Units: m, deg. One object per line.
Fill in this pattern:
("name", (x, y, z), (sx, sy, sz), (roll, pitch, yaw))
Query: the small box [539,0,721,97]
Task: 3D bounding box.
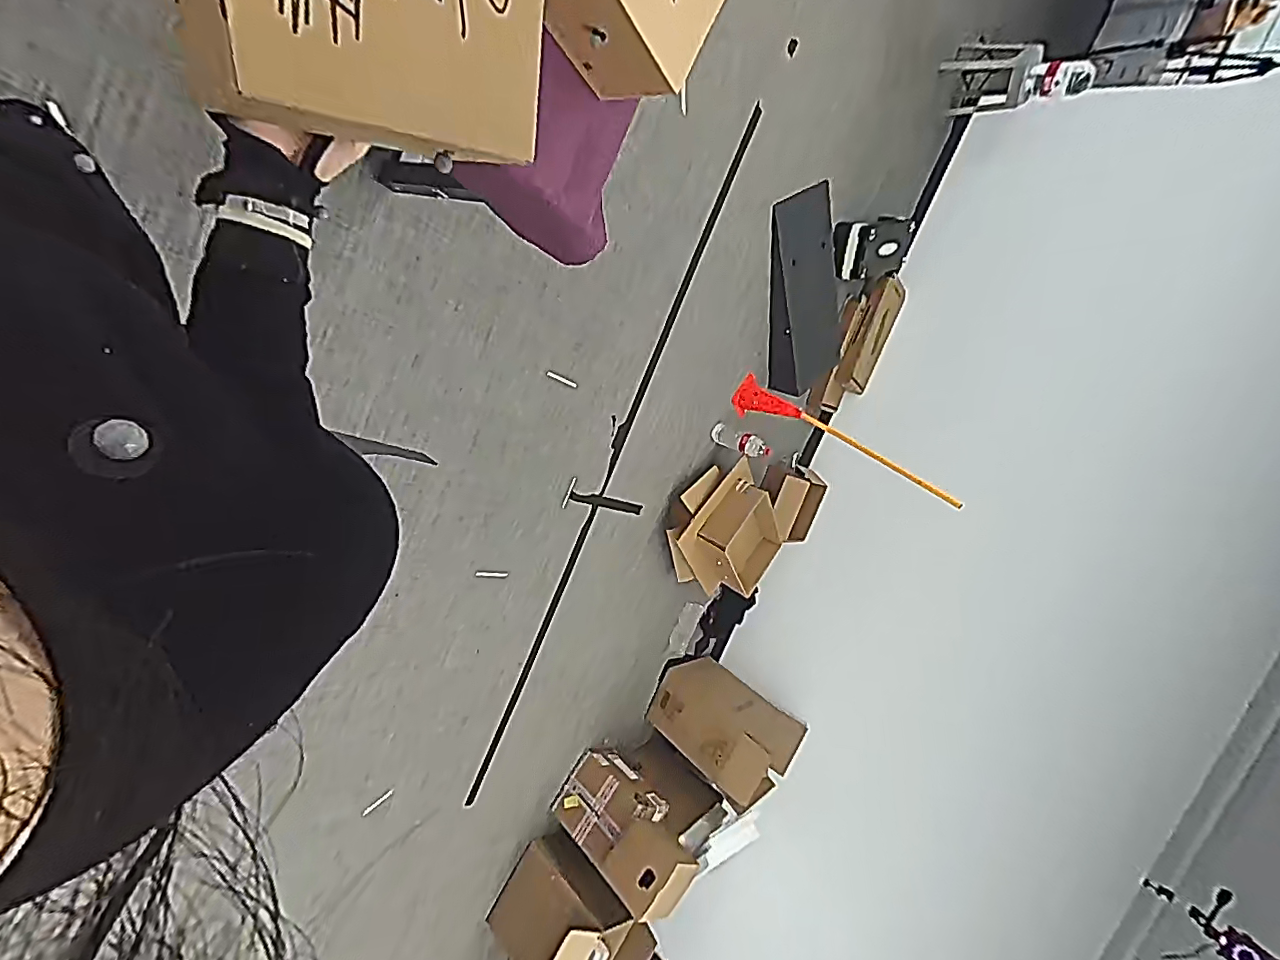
("small box", (-0.016, -0.673, 0.751), (0.168, 0.176, 0.179), (24, 92, -53))
